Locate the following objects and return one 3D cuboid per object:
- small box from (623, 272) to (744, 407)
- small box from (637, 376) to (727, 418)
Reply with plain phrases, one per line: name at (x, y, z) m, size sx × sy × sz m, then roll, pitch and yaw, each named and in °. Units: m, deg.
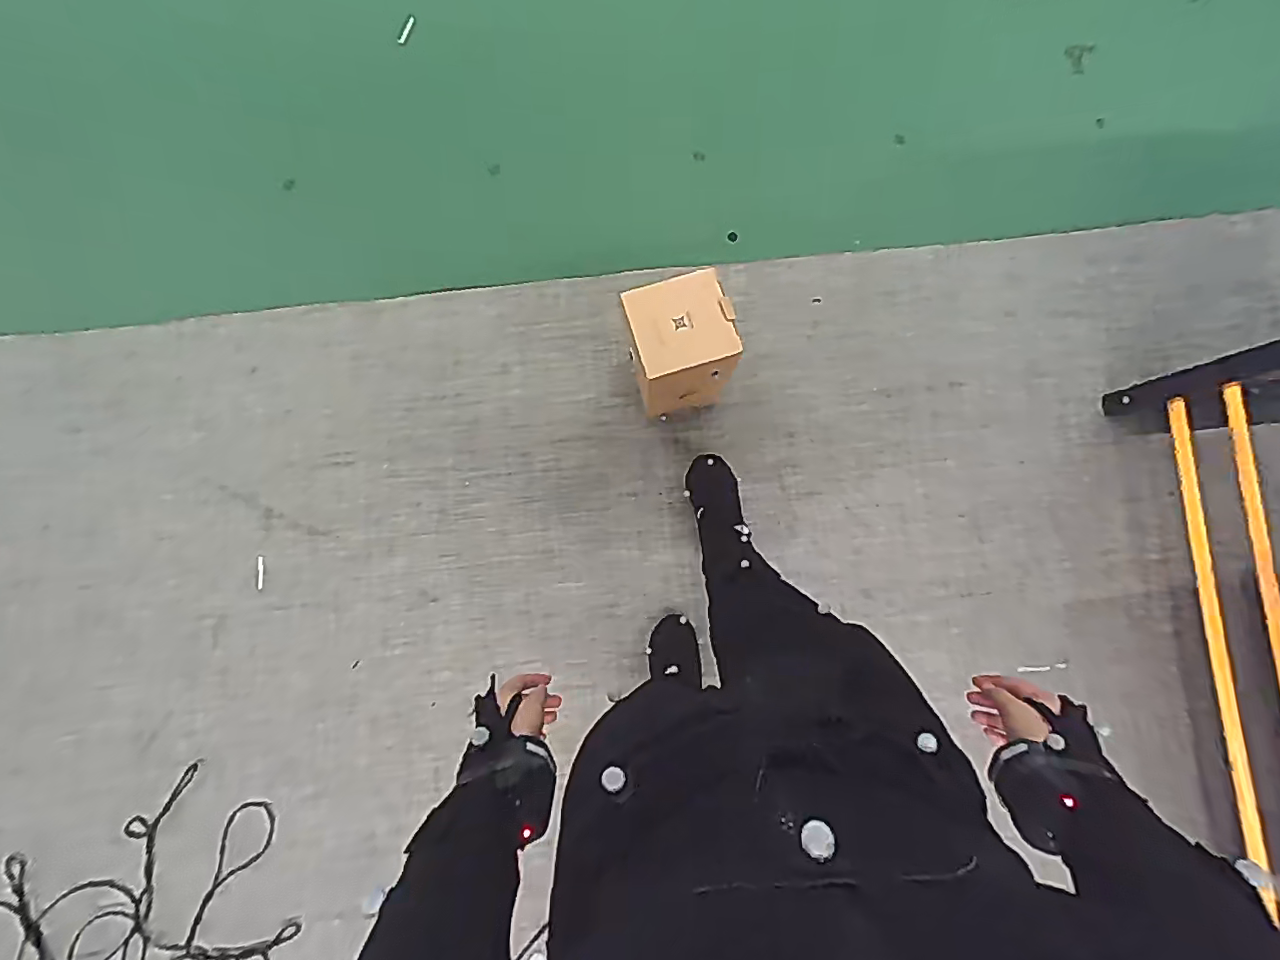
small box at (0.075, -0.255, 1.018) m, size 0.179 × 0.176 × 0.168 m, roll -18°, pitch 82°, yaw -2°
small box at (0.079, -0.245, 1.180) m, size 0.168 × 0.176 × 0.179 m, roll -15°, pitch 82°, yaw -2°
